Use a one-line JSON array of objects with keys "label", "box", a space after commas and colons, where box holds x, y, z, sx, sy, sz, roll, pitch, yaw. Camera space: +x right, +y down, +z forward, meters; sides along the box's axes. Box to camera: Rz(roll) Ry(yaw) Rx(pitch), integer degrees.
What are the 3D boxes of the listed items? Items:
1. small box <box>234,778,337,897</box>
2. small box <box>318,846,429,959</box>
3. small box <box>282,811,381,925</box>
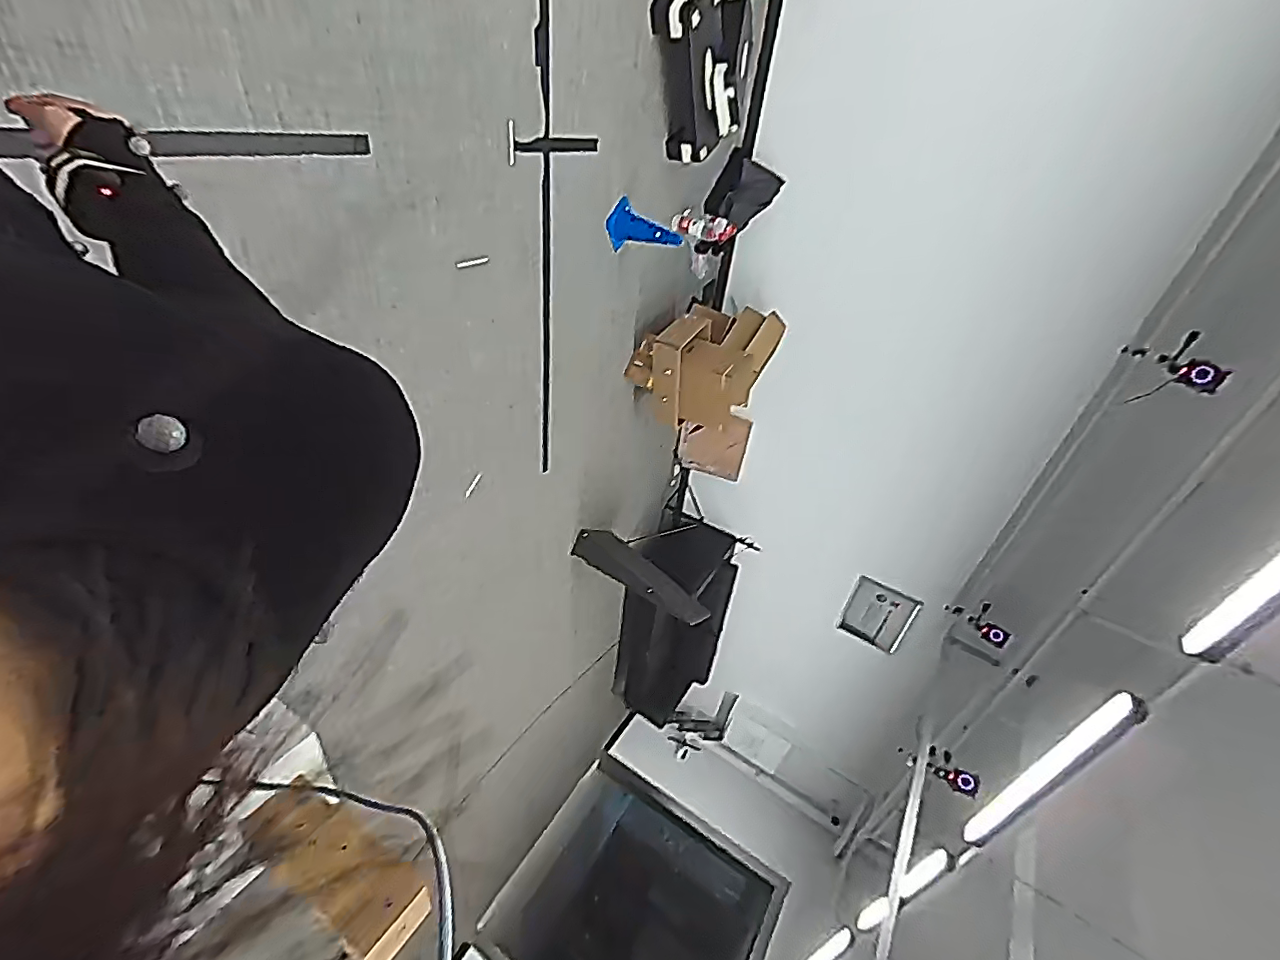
[{"label": "small box", "box": [-0.940, 0.952, 1.456, 0.179, 0.176, 0.168, -36, 144, -48]}, {"label": "small box", "box": [-0.654, 1.062, 1.339, 0.179, 0.176, 0.168, -38, 145, -48]}, {"label": "small box", "box": [-0.795, 1.008, 1.408, 0.168, 0.176, 0.179, -36, 145, -50]}]
